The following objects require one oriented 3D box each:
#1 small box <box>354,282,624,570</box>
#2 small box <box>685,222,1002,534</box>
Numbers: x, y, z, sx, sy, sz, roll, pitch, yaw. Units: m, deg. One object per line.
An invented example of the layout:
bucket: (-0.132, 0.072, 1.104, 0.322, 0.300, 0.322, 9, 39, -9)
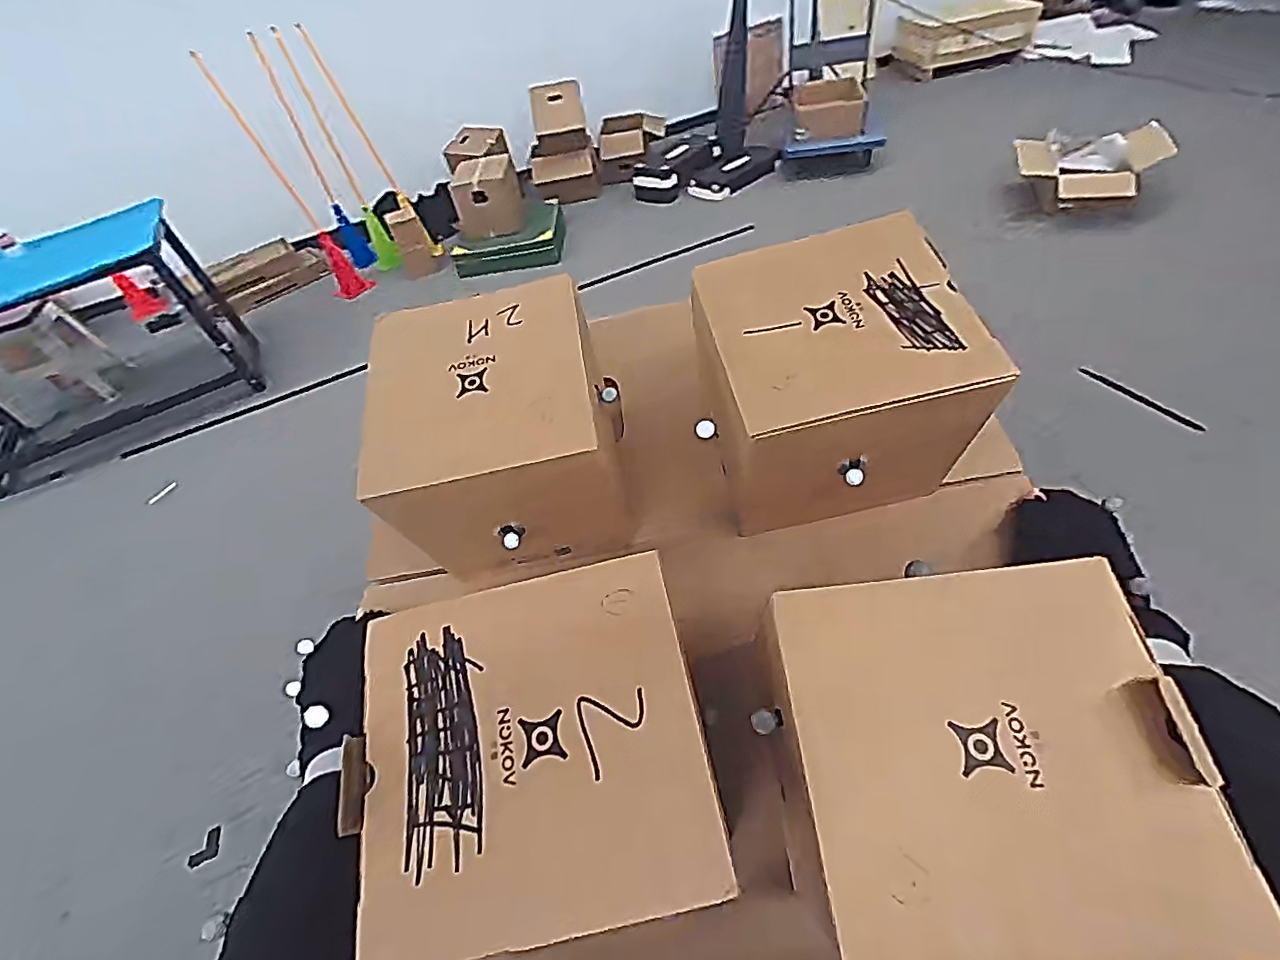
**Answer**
small box: (-0.114, -0.033, 0.468, 0.168, 0.176, 0.179, -11, 60, 2)
small box: (0.143, -0.073, 0.450, 0.179, 0.176, 0.168, -13, 60, 3)
